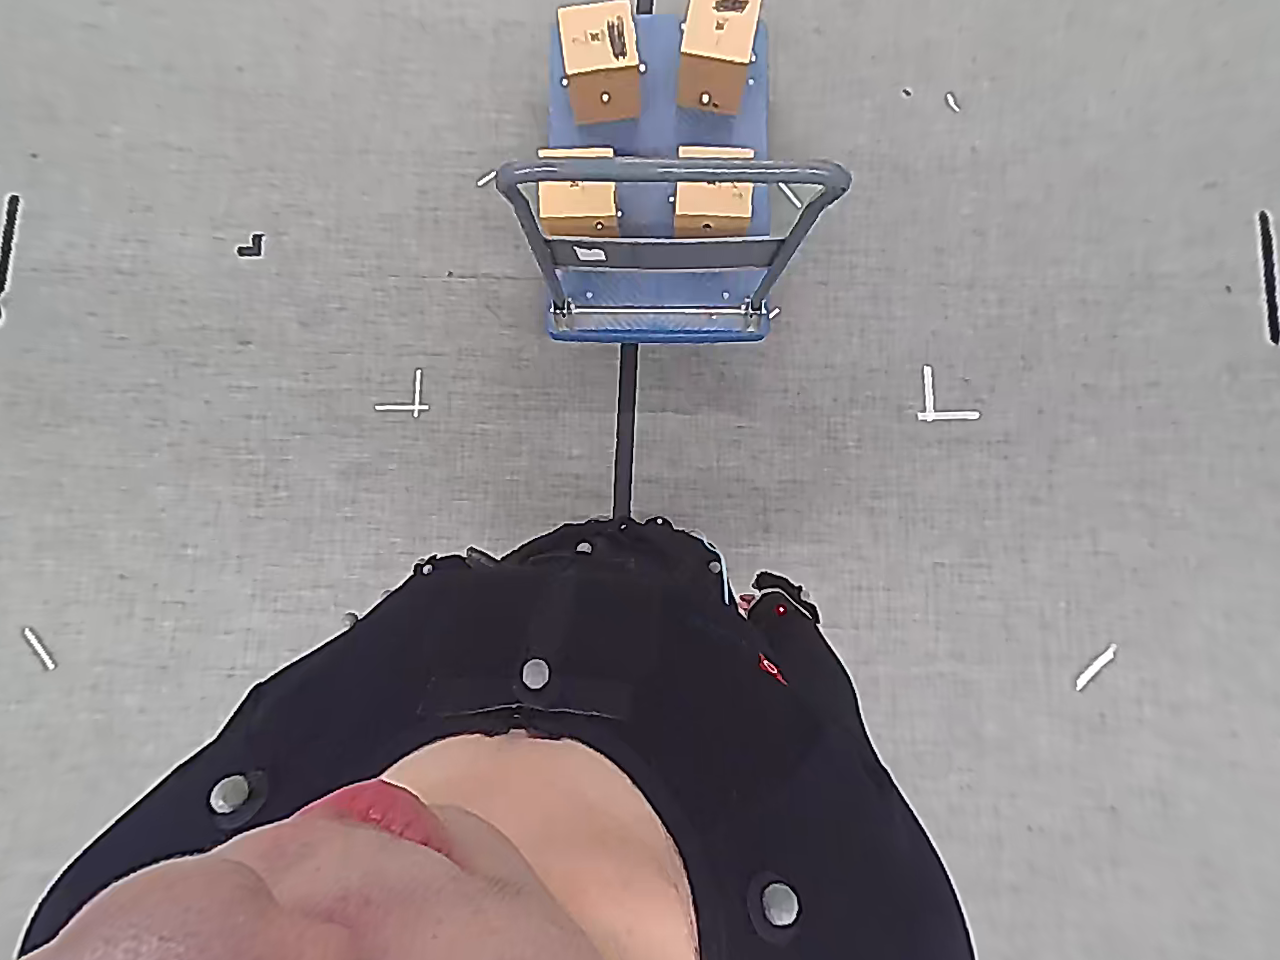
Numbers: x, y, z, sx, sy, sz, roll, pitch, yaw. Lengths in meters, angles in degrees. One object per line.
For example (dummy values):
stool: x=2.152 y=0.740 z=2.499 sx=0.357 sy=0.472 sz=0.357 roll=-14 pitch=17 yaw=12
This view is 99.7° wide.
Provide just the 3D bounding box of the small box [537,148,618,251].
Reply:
small box: x=-0.147 y=-0.673 z=1.314 sx=0.179 sy=0.176 sz=0.168 roll=-2 pitch=86 yaw=-1

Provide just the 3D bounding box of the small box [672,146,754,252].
small box: x=0.170 y=-0.673 z=1.311 sx=0.179 sy=0.176 sz=0.168 roll=3 pitch=87 yaw=1

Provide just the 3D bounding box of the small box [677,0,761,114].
small box: x=0.188 y=-1.058 z=1.336 sx=0.168 sy=0.176 sz=0.179 roll=11 pitch=87 yaw=1
